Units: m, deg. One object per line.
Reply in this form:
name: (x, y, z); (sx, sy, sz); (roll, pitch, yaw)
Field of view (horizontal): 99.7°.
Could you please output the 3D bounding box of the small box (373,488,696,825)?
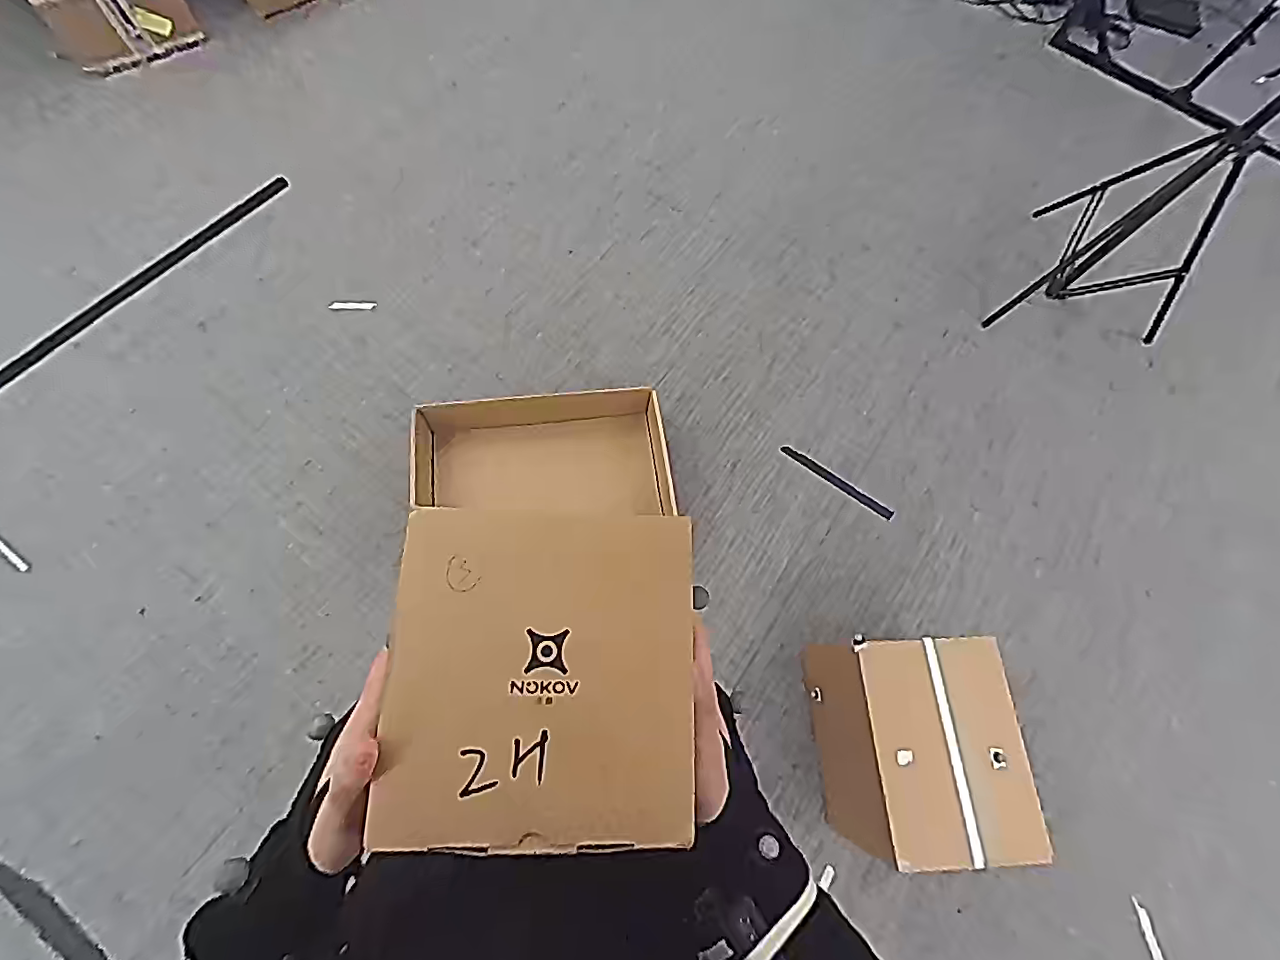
small box: (-0.058, 0.115, 0.375); (0.168, 0.176, 0.179); (3, 74, -5)
